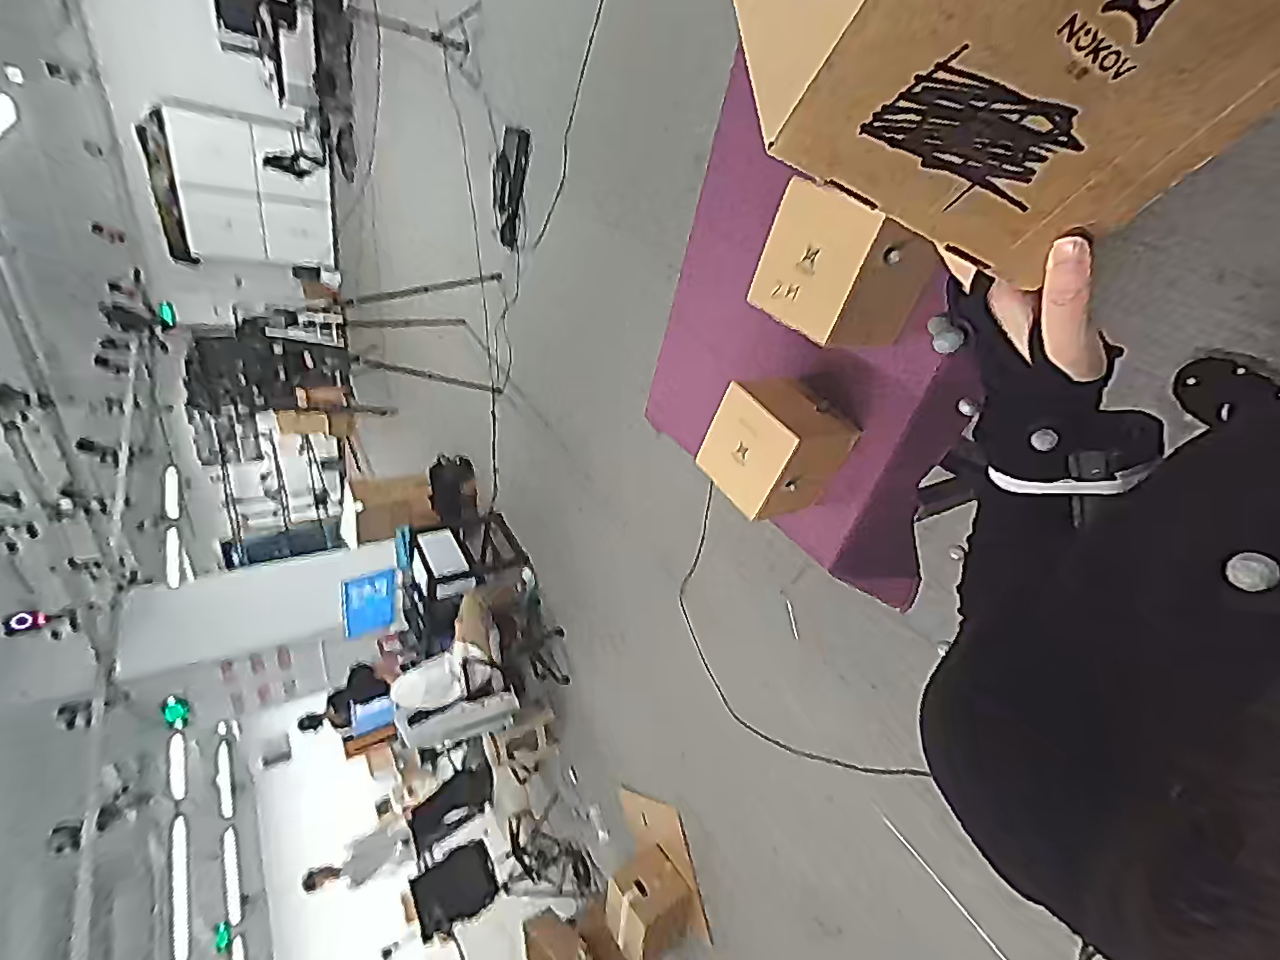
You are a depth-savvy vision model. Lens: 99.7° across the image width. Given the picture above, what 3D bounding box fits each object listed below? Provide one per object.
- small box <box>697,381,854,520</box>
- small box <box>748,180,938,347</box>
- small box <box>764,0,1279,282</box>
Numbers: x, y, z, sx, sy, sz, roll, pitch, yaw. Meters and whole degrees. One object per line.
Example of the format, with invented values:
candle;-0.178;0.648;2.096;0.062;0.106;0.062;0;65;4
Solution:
small box;0.234;-0.057;0.940;0.168;0.176;0.179;52;135;34
small box;0.296;-0.309;0.788;0.168;0.176;0.179;49;135;38
small box;0.167;-0.227;0.221;0.179;0.168;0.176;-46;38;51
